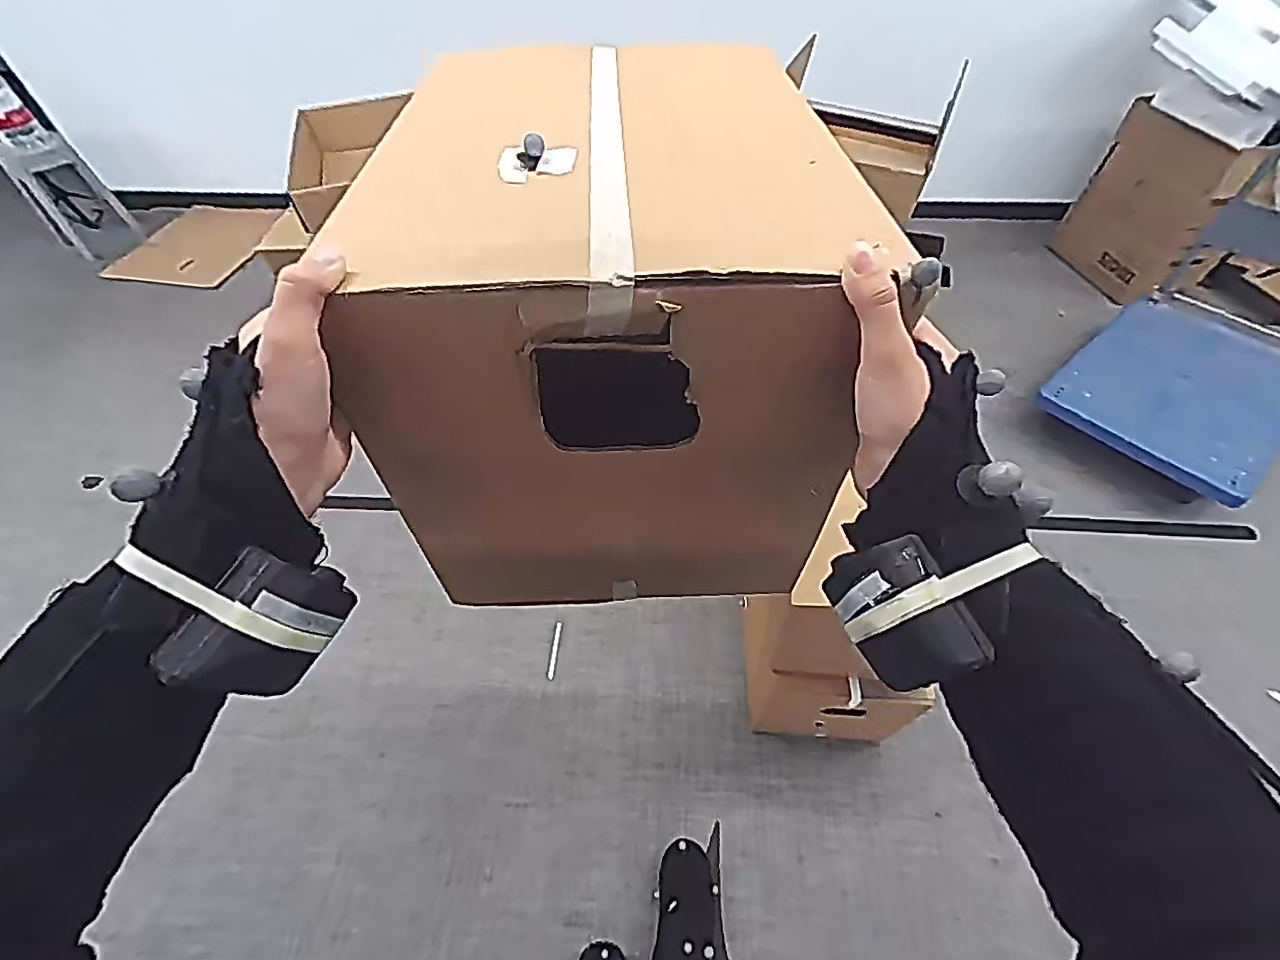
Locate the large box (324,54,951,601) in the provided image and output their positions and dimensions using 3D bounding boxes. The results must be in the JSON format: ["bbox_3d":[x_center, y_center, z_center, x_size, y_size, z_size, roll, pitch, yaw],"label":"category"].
[{"bbox_3d":[-0.014,-0.144,0.497,0.320,0.320,0.408,-3,51,-2],"label":"large box"}]
